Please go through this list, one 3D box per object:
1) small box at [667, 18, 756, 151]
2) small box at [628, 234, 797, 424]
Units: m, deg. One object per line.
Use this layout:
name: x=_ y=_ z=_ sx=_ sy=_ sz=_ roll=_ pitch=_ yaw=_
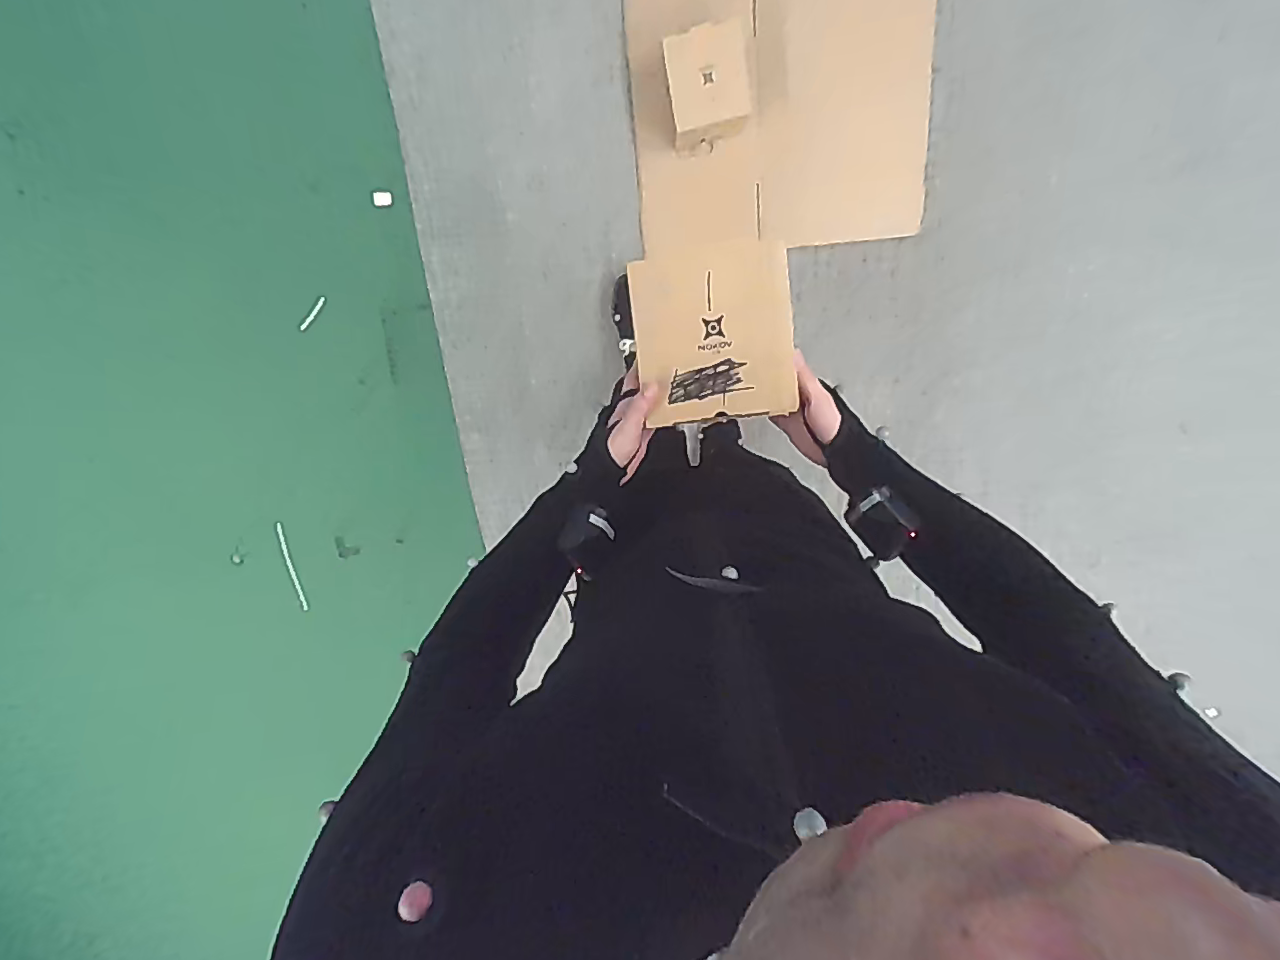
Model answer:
small box: x=0.153 y=-0.864 z=1.200 sx=0.168 sy=0.176 sz=0.179 roll=-10 pitch=108 yaw=7
small box: x=0.086 y=-0.164 z=0.635 sx=0.168 sy=0.176 sz=0.179 roll=-5 pitch=97 yaw=8
